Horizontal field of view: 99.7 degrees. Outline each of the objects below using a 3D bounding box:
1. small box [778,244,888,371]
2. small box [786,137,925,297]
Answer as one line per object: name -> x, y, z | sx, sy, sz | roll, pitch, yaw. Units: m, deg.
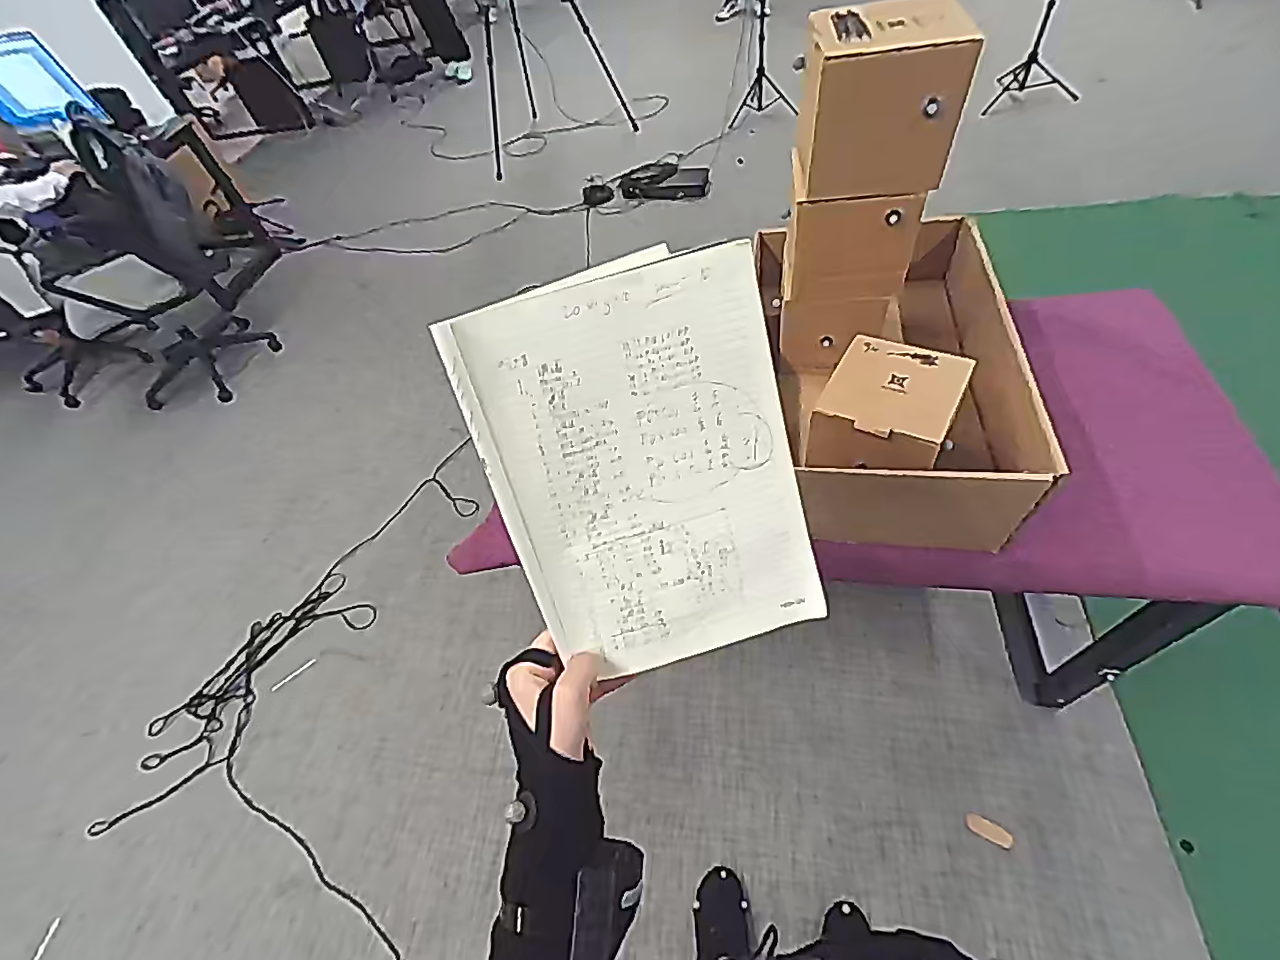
small box -> 0.342, -0.314, 0.983 | 0.168, 0.176, 0.179 | 3, 56, 13
small box -> 0.323, -0.405, 0.851 | 0.179, 0.176, 0.168 | 1, 55, 11
